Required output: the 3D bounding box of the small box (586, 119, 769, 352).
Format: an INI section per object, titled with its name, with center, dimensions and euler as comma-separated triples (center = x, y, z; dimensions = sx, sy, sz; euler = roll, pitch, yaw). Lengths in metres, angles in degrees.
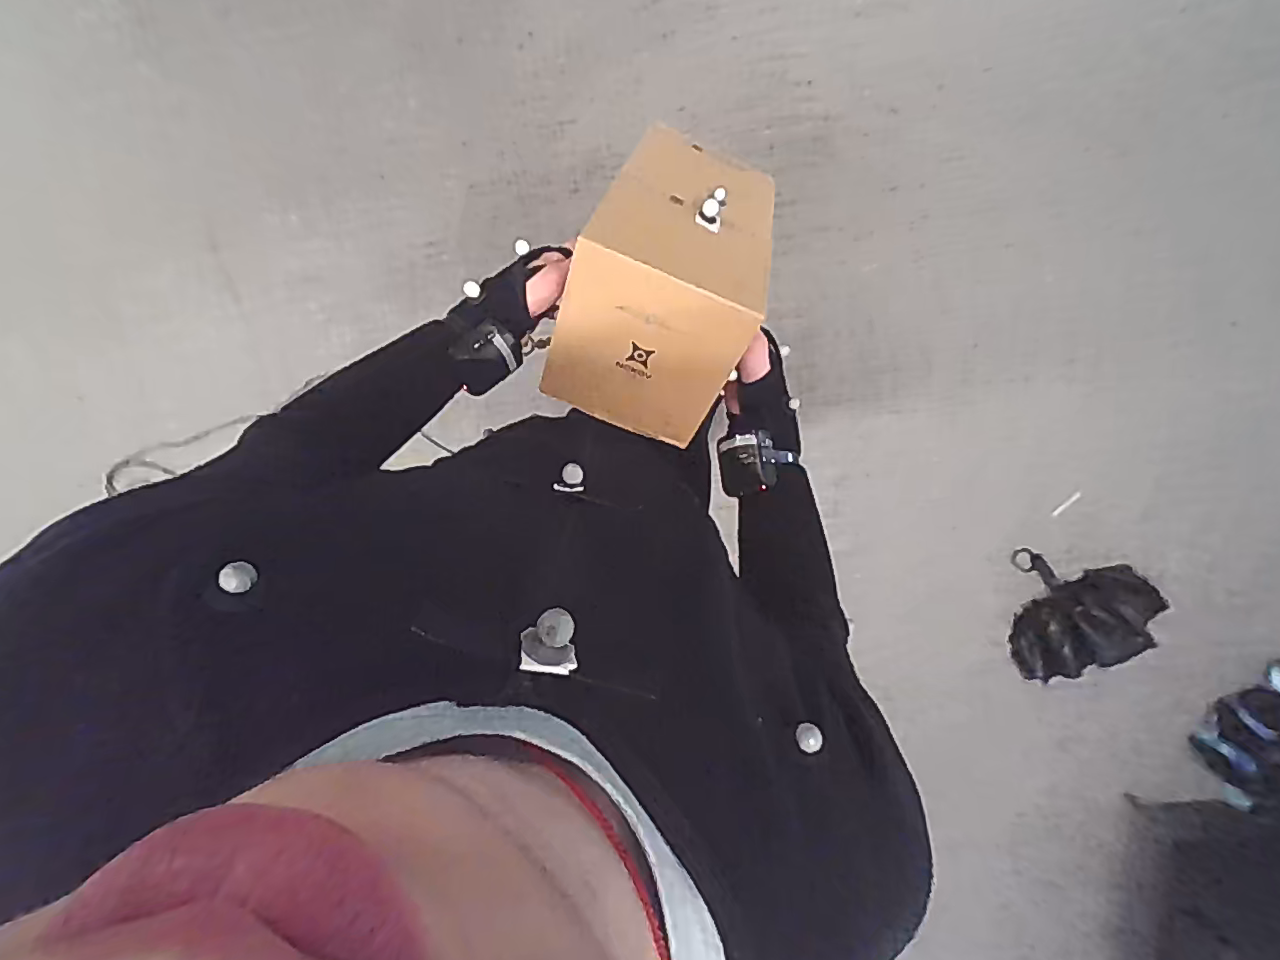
[small box]
center = 0.049, -0.298, 0.664
dimensions = 0.168, 0.176, 0.179
euler = 20, 139, -7
